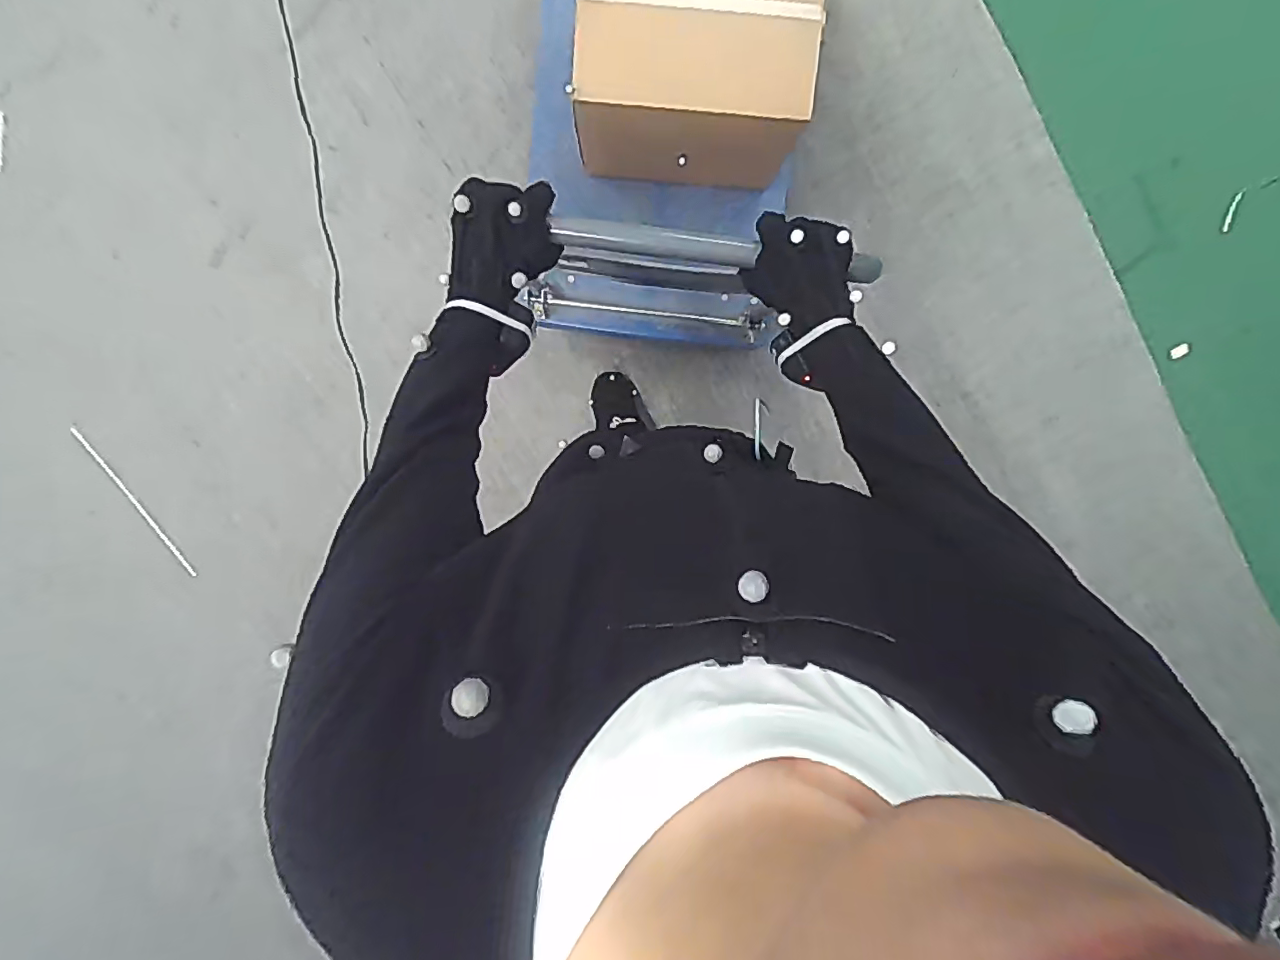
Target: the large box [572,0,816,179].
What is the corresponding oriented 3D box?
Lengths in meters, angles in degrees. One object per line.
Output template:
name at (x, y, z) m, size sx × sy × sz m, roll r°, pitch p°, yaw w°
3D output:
large box at (0.091, -0.803, 1.034) m, size 0.408 × 0.320 × 0.320 m, roll 3°, pitch 98°, yaw -1°
